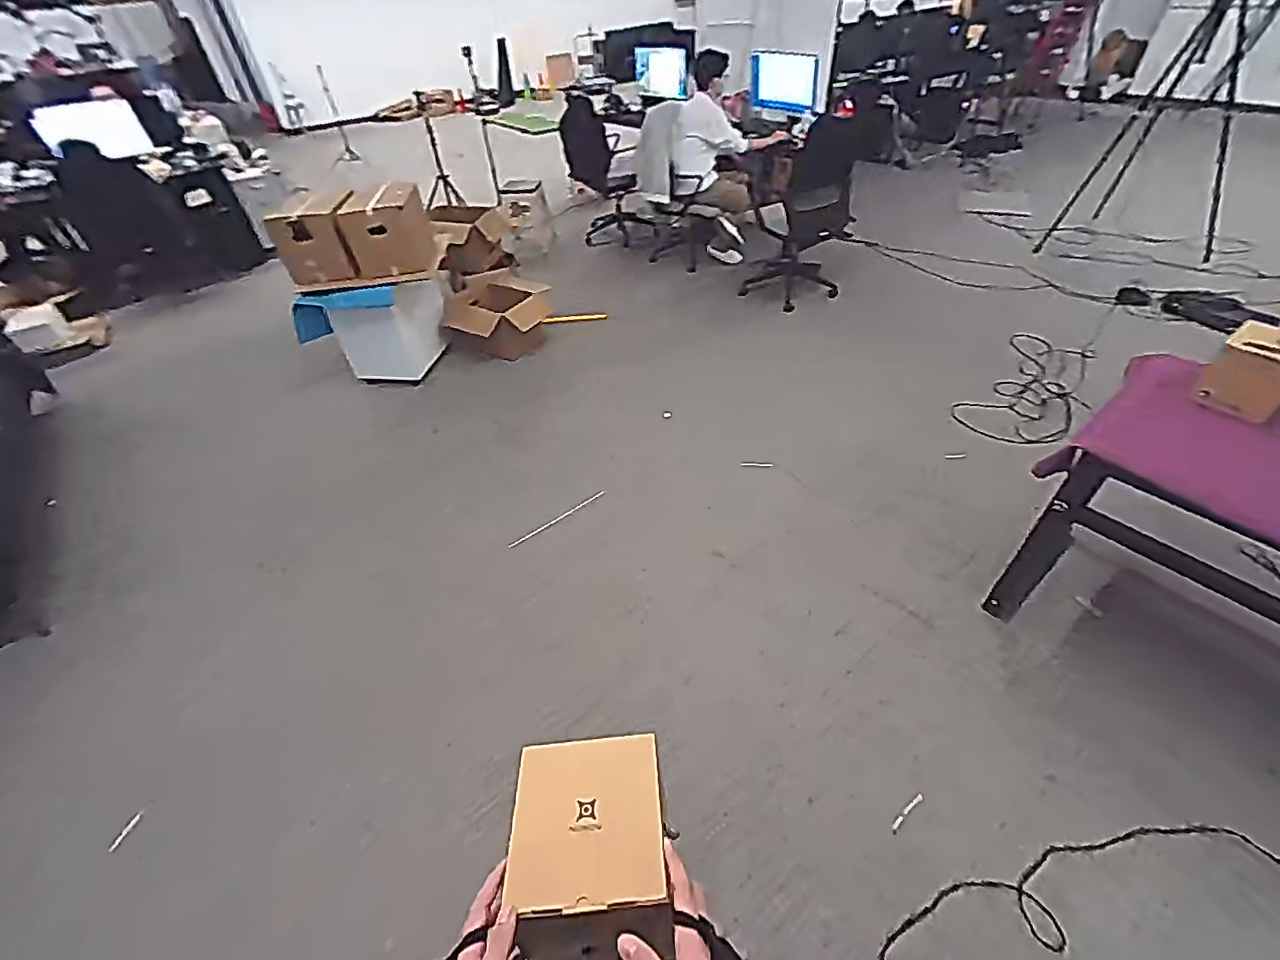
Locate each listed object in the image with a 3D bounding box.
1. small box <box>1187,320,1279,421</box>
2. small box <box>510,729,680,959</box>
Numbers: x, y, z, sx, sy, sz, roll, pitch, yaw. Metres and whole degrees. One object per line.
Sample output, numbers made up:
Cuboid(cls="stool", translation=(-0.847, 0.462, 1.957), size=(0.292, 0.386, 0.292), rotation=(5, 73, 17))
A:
Cuboid(cls="small box", translation=(1.569, -0.279, 1.381), size=(0.179, 0.176, 0.168), rotation=(-29, 49, -23))
Cuboid(cls="small box", translation=(-0.043, 0.427, 0.640), size=(0.168, 0.176, 0.179), rotation=(-6, 34, 1))
